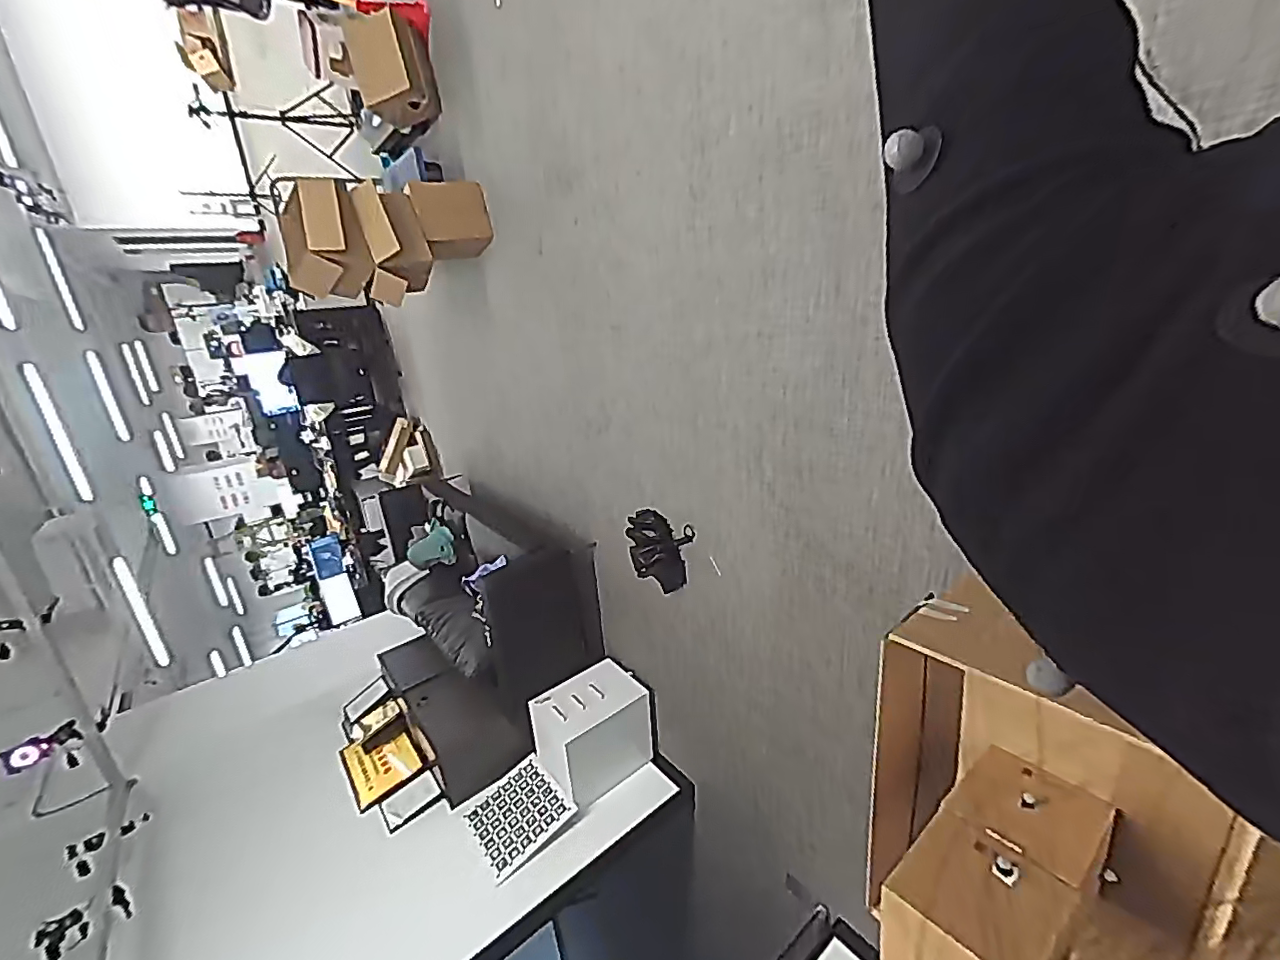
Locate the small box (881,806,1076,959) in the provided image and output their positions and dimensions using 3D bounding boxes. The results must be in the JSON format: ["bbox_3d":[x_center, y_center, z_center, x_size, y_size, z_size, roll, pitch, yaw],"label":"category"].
[{"bbox_3d":[0.436,0.583,0.703,0.168,0.176,0.179,13,116,50],"label":"small box"}]
